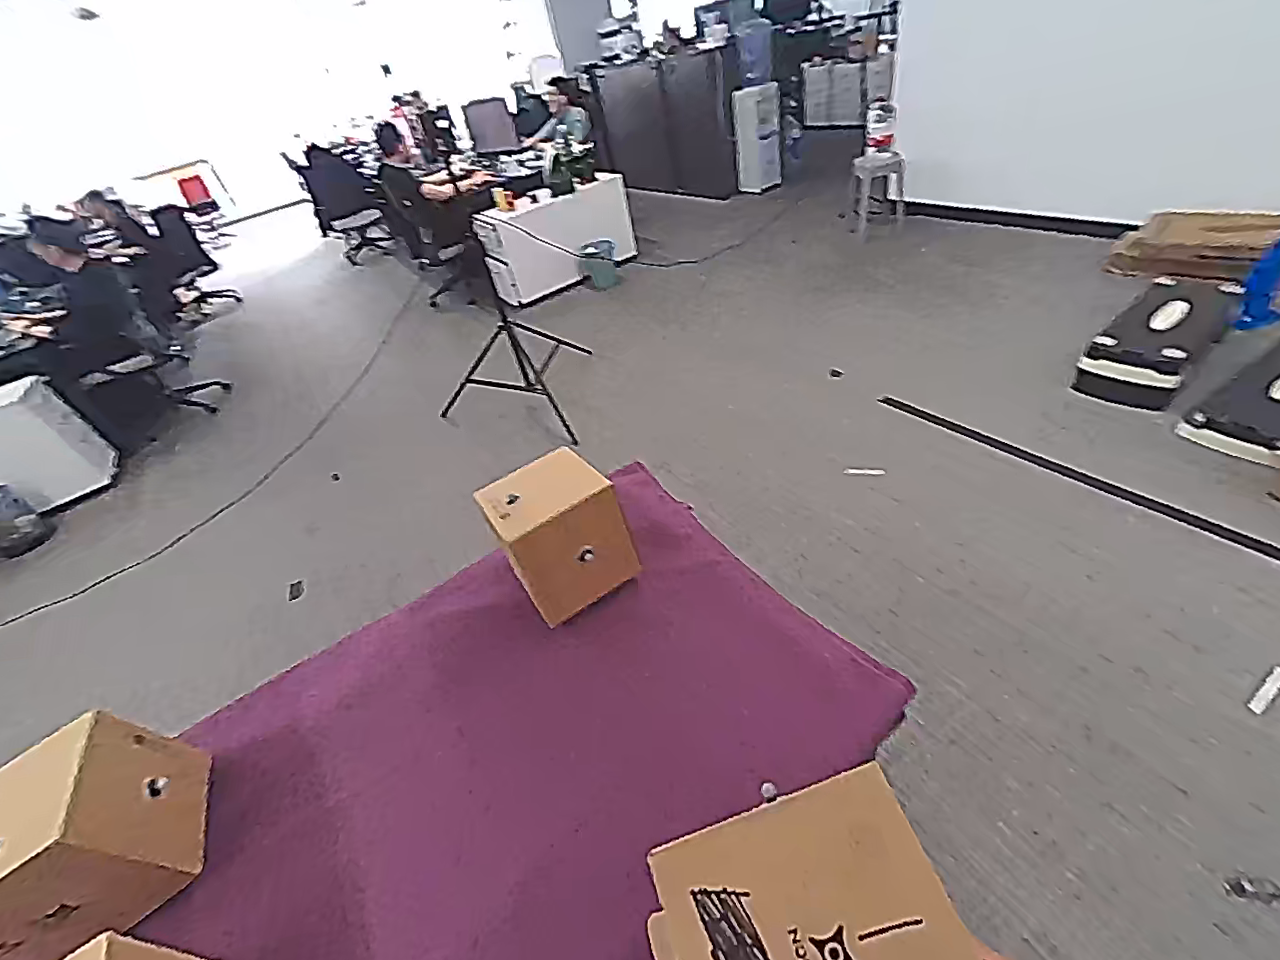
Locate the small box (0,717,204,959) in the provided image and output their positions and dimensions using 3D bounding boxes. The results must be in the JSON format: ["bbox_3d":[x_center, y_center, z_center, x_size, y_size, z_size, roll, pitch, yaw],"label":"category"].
[{"bbox_3d":[-0.639,0.407,0.609,0.179,0.168,0.176,-35,42,-12],"label":"small box"}]

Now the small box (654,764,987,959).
[{"bbox_3d":[0.131,0.329,0.394,0.179,0.176,0.168,-23,57,1],"label":"small box"}]

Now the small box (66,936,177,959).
[{"bbox_3d":[-0.465,0.528,0.434,0.179,0.176,0.168,-32,42,-20],"label":"small box"}]
